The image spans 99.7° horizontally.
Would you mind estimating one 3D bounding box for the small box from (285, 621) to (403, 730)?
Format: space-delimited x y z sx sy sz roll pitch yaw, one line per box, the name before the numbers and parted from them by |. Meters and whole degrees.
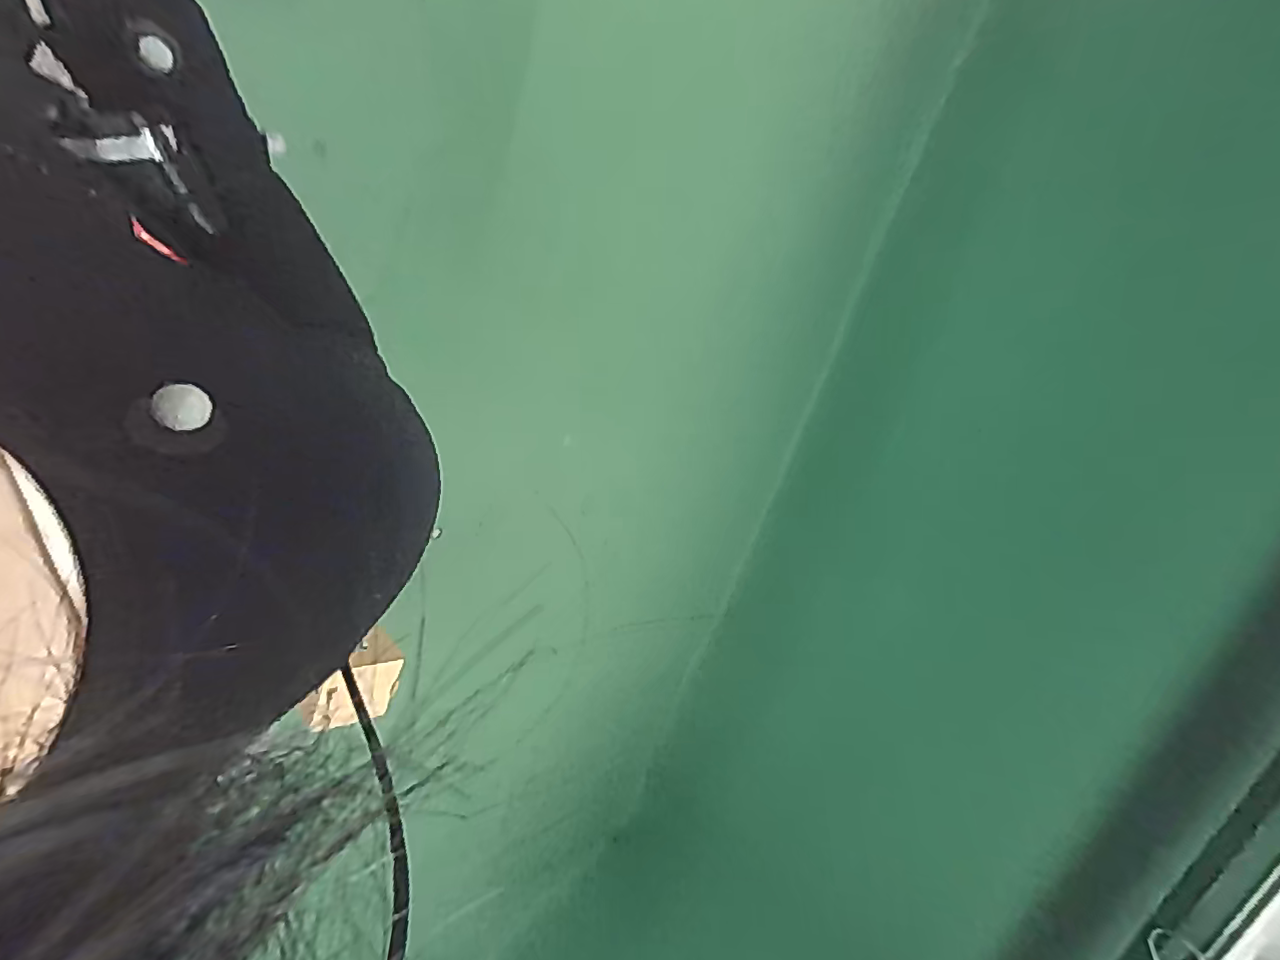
small box | -0.707 0.454 1.291 0.179 0.176 0.168 9 108 -52
